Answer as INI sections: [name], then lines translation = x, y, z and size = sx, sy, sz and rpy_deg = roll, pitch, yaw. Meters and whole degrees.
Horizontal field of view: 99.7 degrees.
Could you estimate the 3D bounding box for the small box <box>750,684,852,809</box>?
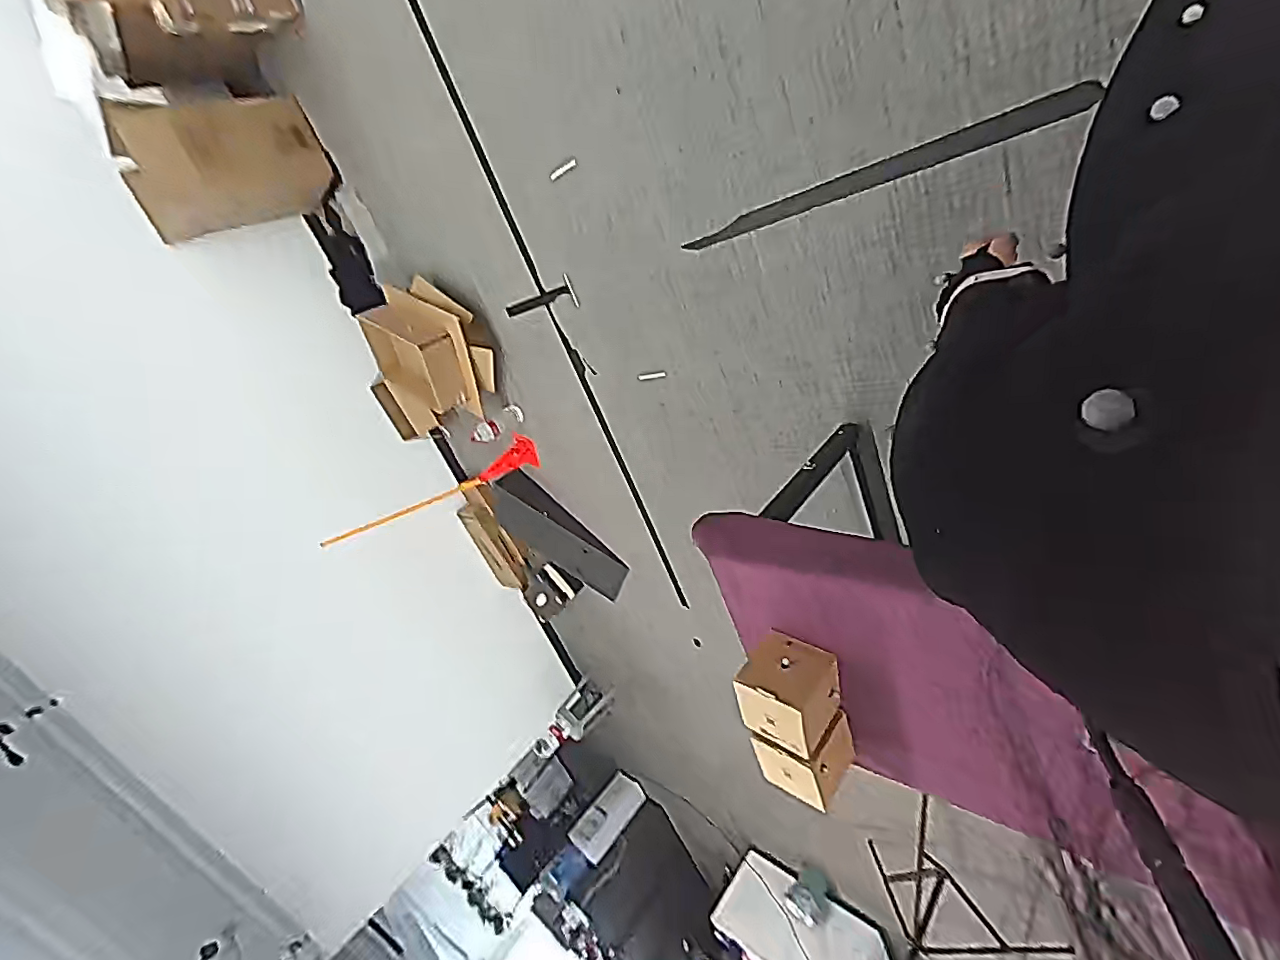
[small box]
translation = 0.397, 0.639, 1.314
size = 0.168, 0.176, 0.179
rpy_deg = 8, 128, 46
